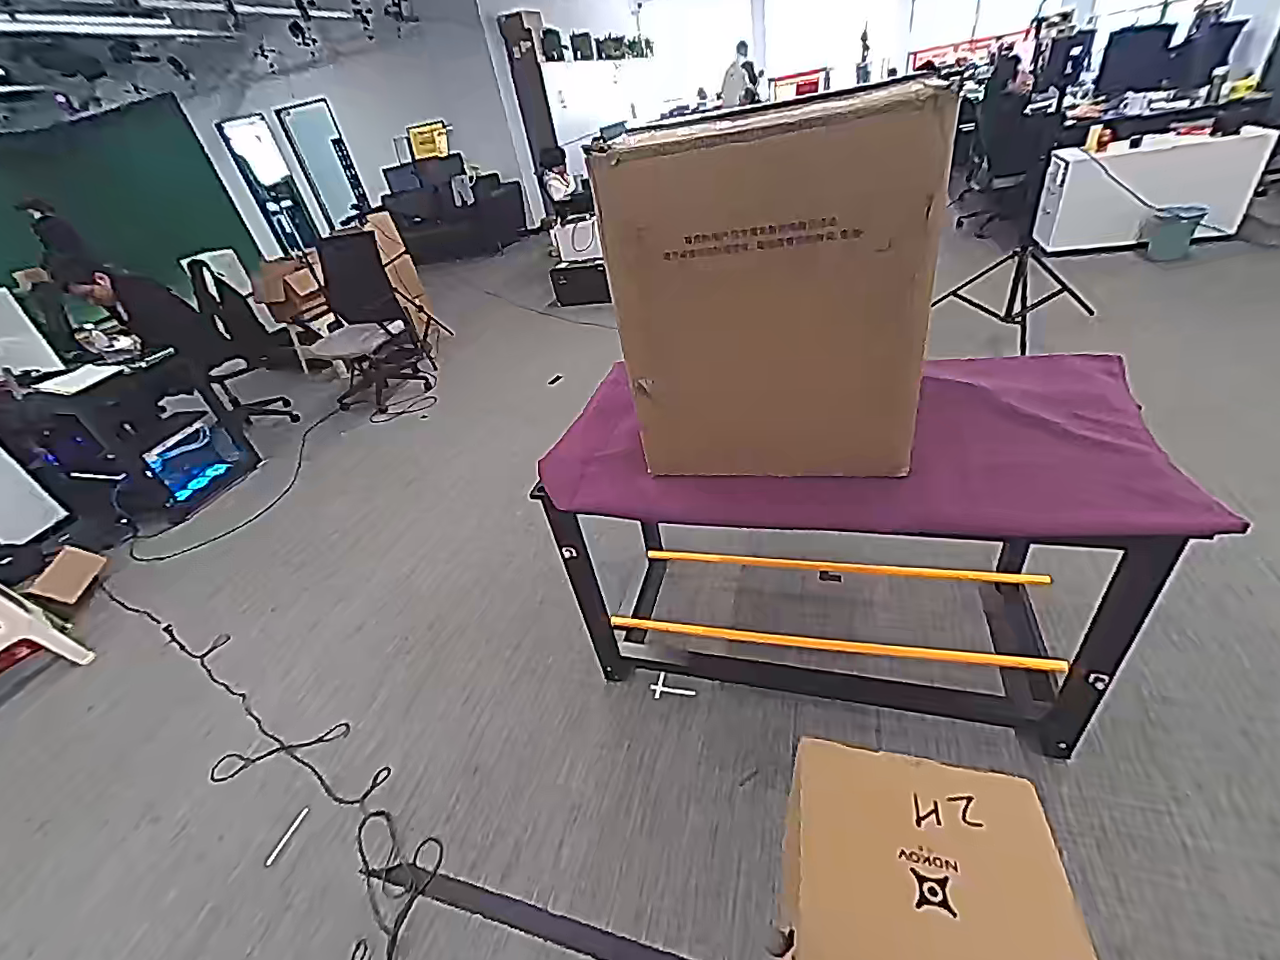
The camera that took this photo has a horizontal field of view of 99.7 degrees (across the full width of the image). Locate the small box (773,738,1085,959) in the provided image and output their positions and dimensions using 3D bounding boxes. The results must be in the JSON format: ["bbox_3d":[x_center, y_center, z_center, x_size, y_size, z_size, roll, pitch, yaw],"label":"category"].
[{"bbox_3d":[0.189,0.330,0.391,0.168,0.176,0.179,6,30,14],"label":"small box"}]
